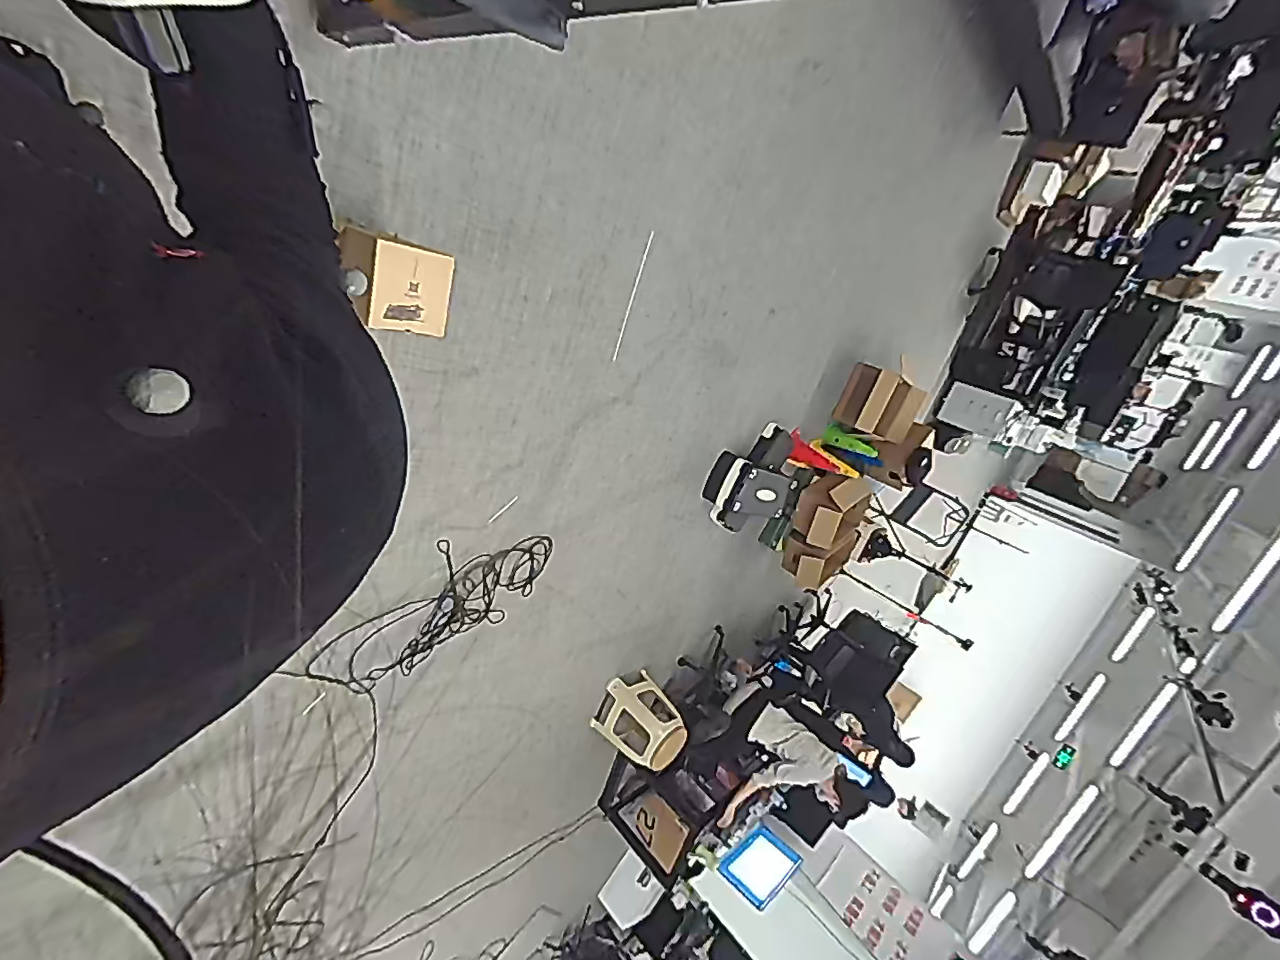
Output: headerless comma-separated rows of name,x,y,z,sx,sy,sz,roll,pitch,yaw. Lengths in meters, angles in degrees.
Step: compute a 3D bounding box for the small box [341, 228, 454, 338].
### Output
small box,-0.530,-0.424,1.171,0.168,0.176,0.179,-6,118,-47
